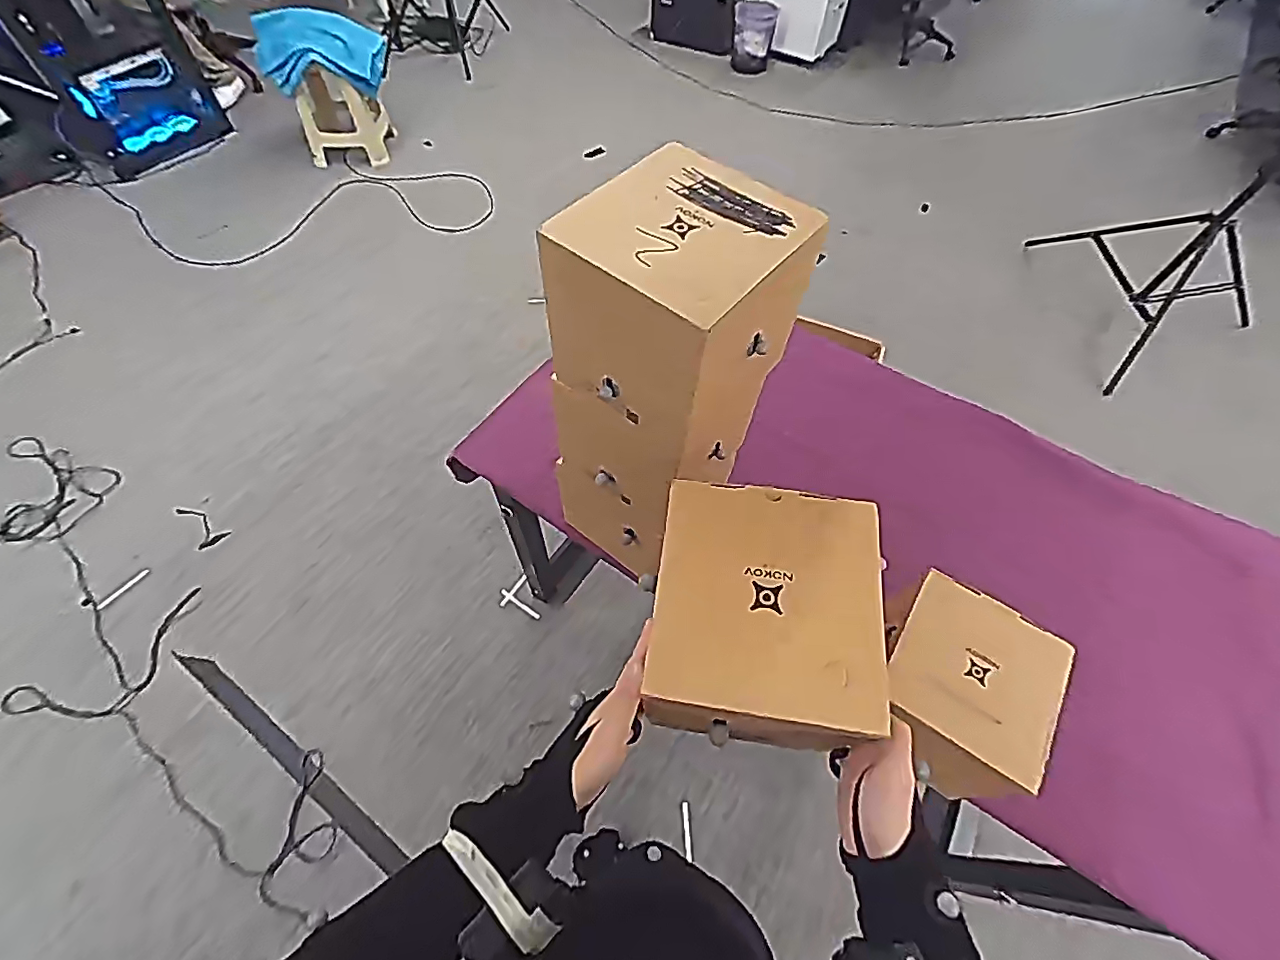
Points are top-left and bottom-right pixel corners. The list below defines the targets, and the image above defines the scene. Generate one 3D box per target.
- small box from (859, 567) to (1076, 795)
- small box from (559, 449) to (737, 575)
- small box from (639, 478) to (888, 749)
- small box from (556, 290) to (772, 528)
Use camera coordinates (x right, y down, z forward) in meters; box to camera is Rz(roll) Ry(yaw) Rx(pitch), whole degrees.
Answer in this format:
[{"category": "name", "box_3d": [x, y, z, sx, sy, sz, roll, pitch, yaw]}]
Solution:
[{"category": "small box", "box_3d": [0.360, 0.241, 0.642, 0.168, 0.176, 0.179, 31, 63, 17]}, {"category": "small box", "box_3d": [0.009, 0.012, 0.768, 0.179, 0.176, 0.168, 35, 63, 18]}, {"category": "small box", "box_3d": [0.098, 0.121, 0.465, 0.168, 0.176, 0.179, 6, 59, 7]}, {"category": "small box", "box_3d": [0.023, -0.079, 0.631, 0.168, 0.176, 0.179, 34, 64, 17]}]
